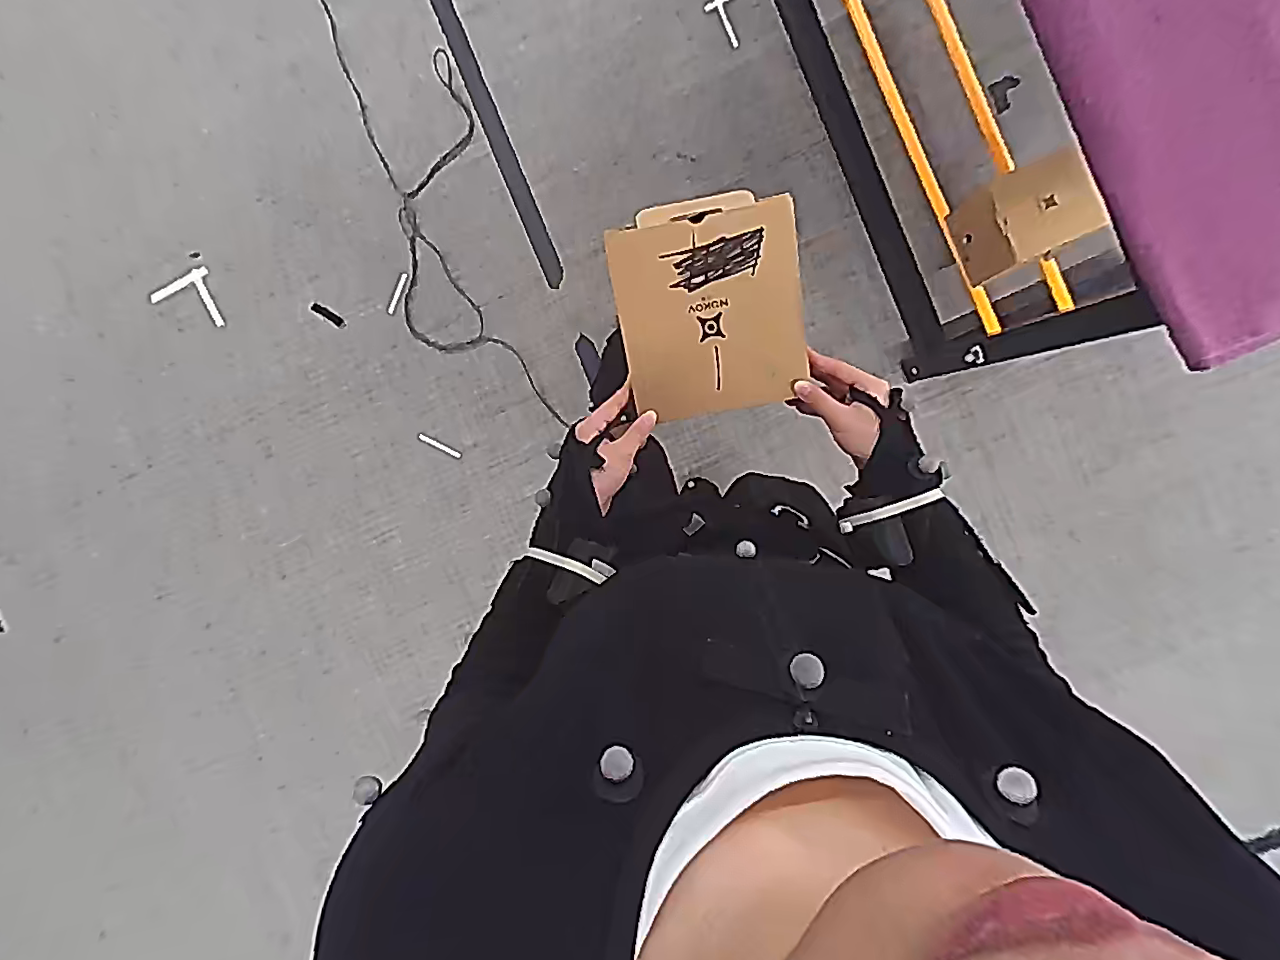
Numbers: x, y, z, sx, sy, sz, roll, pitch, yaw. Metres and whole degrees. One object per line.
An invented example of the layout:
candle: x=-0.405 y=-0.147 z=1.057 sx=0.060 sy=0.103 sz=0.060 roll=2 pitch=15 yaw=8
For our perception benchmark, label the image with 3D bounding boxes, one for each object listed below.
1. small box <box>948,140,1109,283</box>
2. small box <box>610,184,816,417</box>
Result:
small box: x=0.762 y=-0.522 z=1.079 sx=0.179 sy=0.176 sz=0.168 roll=-24 pitch=92 yaw=6
small box: x=0.069 y=-0.173 z=0.553 sx=0.168 sy=0.176 sz=0.179 roll=-9 pitch=106 yaw=5
